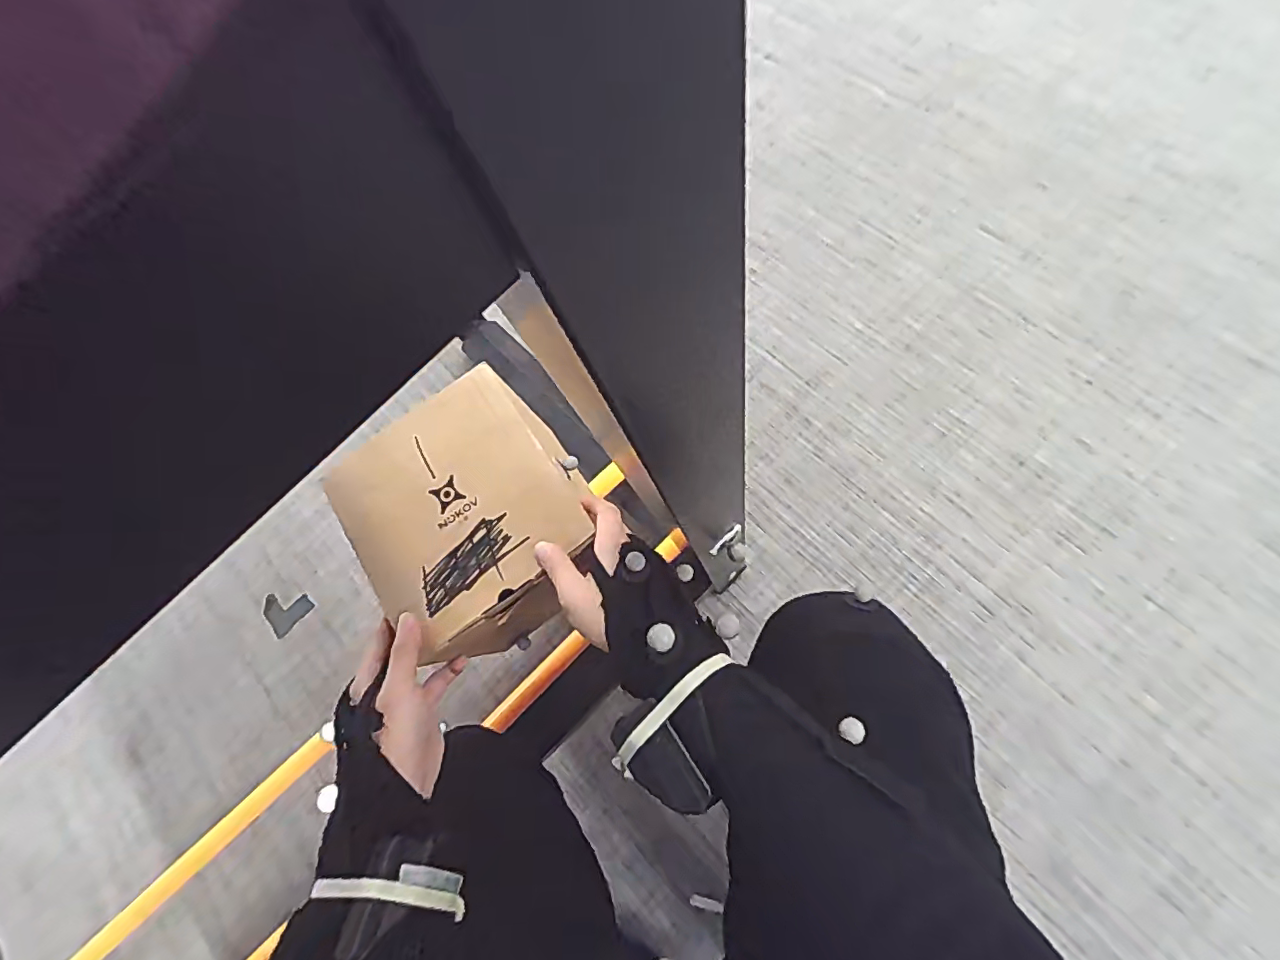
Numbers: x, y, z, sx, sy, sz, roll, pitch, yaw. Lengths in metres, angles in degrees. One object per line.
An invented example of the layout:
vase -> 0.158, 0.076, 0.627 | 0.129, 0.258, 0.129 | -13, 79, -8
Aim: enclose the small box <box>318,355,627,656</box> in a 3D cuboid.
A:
small box -> -0.130, 0.030, 0.481 | 0.168, 0.176, 0.179 | -35, 73, -1
